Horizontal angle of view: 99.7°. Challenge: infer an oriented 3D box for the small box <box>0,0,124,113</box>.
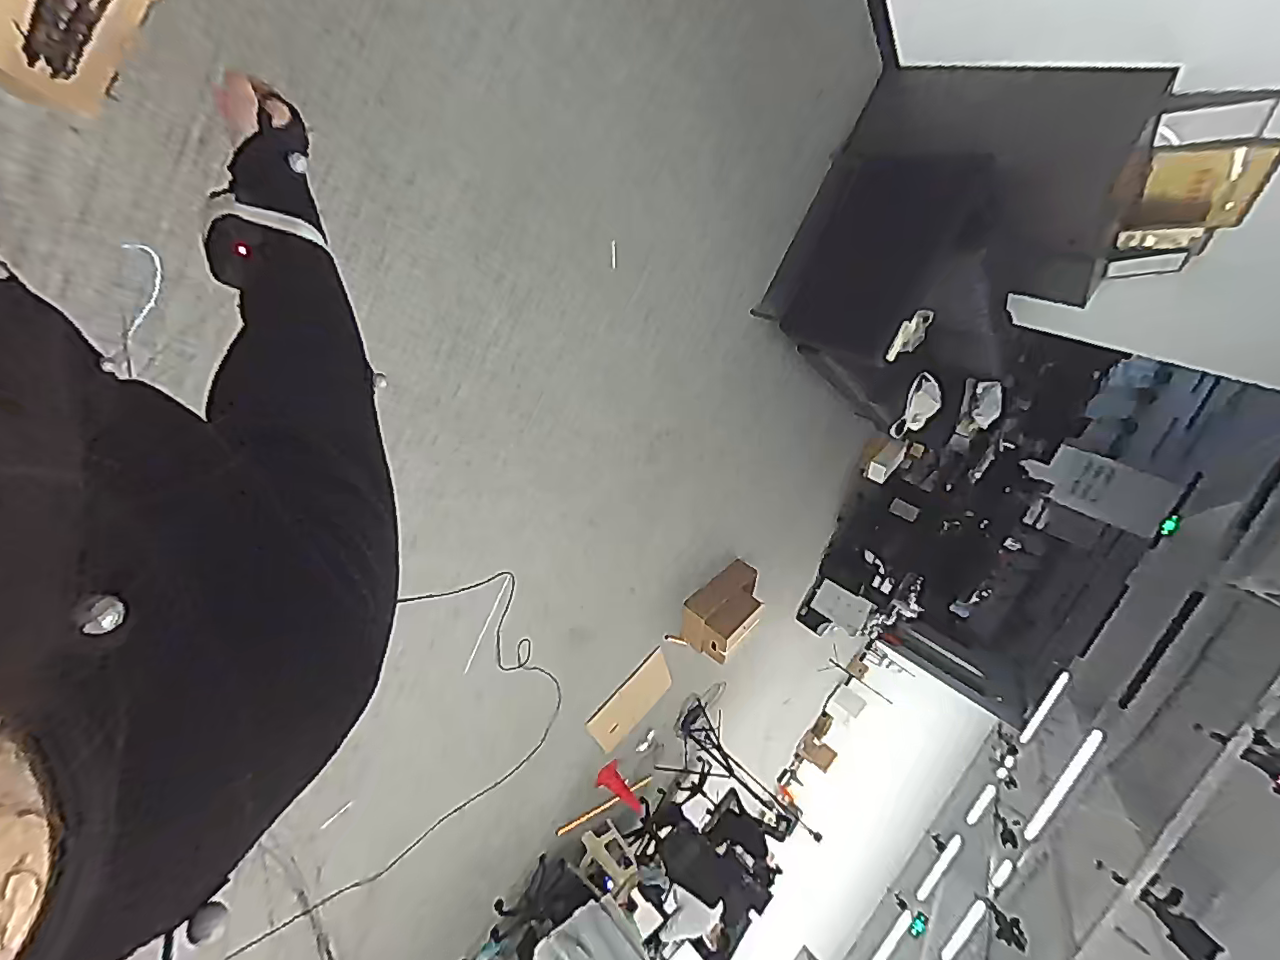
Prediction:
[{"bbox_3d":[-0.717,-0.548,0.597,0.168,0.176,0.179,23,94,-55],"label":"small box"}]
